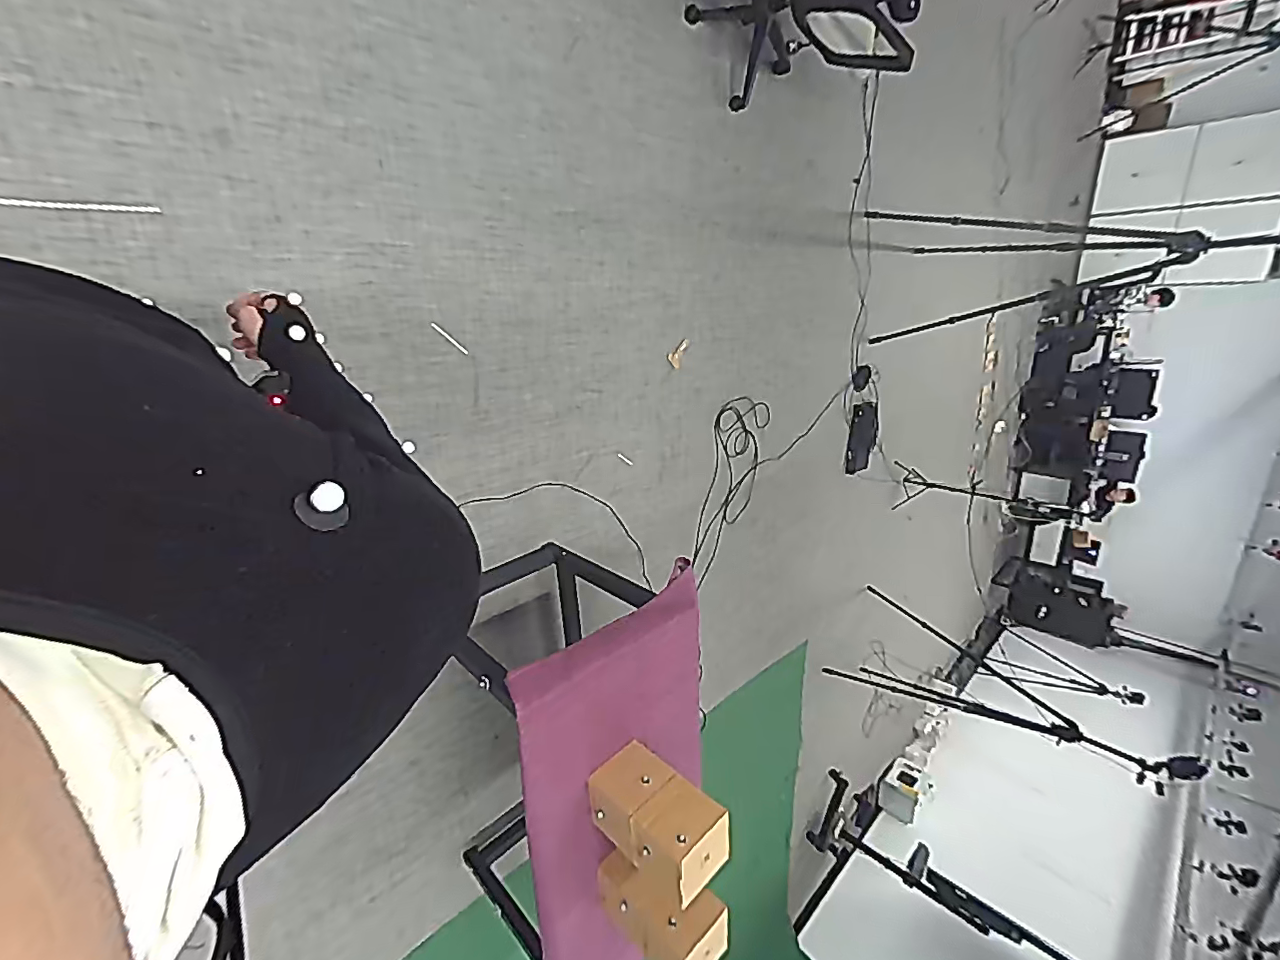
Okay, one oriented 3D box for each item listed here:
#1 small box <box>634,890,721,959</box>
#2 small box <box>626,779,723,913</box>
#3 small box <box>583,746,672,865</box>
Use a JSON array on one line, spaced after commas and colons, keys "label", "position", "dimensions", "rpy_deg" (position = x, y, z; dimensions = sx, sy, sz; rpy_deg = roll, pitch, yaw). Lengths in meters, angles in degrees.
[{"label": "small box", "position": [0.095, 1.202, 1.433], "dimensions": [0.179, 0.176, 0.168], "rpy_deg": [-18, 115, -42]}, {"label": "small box", "position": [0.084, 0.888, 1.333], "dimensions": [0.179, 0.176, 0.168], "rpy_deg": [-21, 116, -40]}, {"label": "small box", "position": [-0.031, 0.856, 1.443], "dimensions": [0.179, 0.176, 0.168], "rpy_deg": [-20, 115, -40]}]
